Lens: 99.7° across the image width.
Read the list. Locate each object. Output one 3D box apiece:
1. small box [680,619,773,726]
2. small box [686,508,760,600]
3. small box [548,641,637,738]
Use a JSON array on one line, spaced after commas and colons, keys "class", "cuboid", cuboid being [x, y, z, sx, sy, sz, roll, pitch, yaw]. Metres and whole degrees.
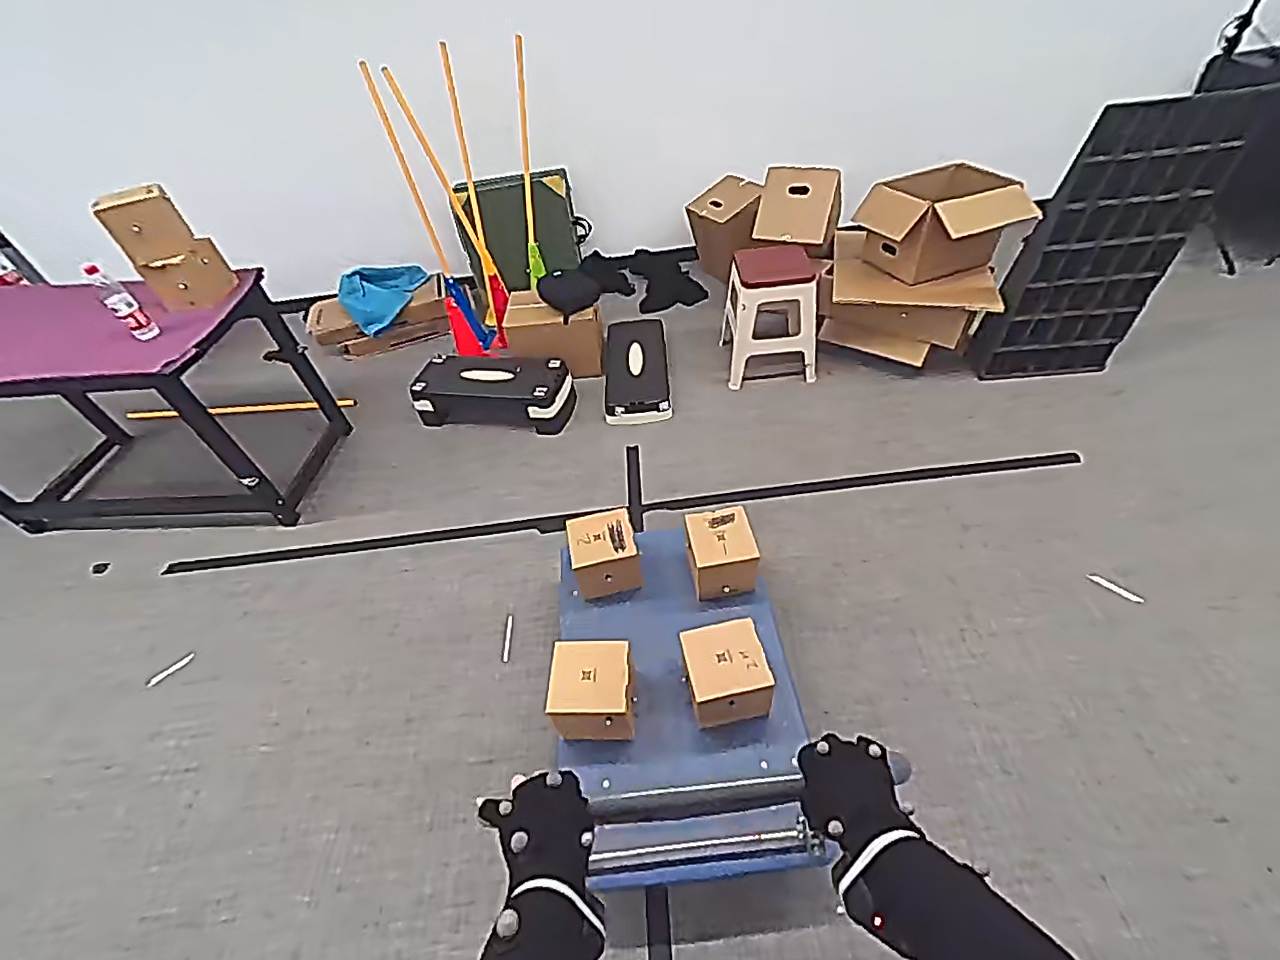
[{"class": "small box", "cuboid": [0.199, 0.454, 1.262, 0.179, 0.176, 0.168, -11, 47, -3]}, {"class": "small box", "cuboid": [0.223, 0.206, 1.491, 0.168, 0.176, 0.179, -10, 48, -1]}, {"class": "small box", "cuboid": [-0.104, 0.494, 1.267, 0.179, 0.176, 0.168, -2, 47, 4]}]
